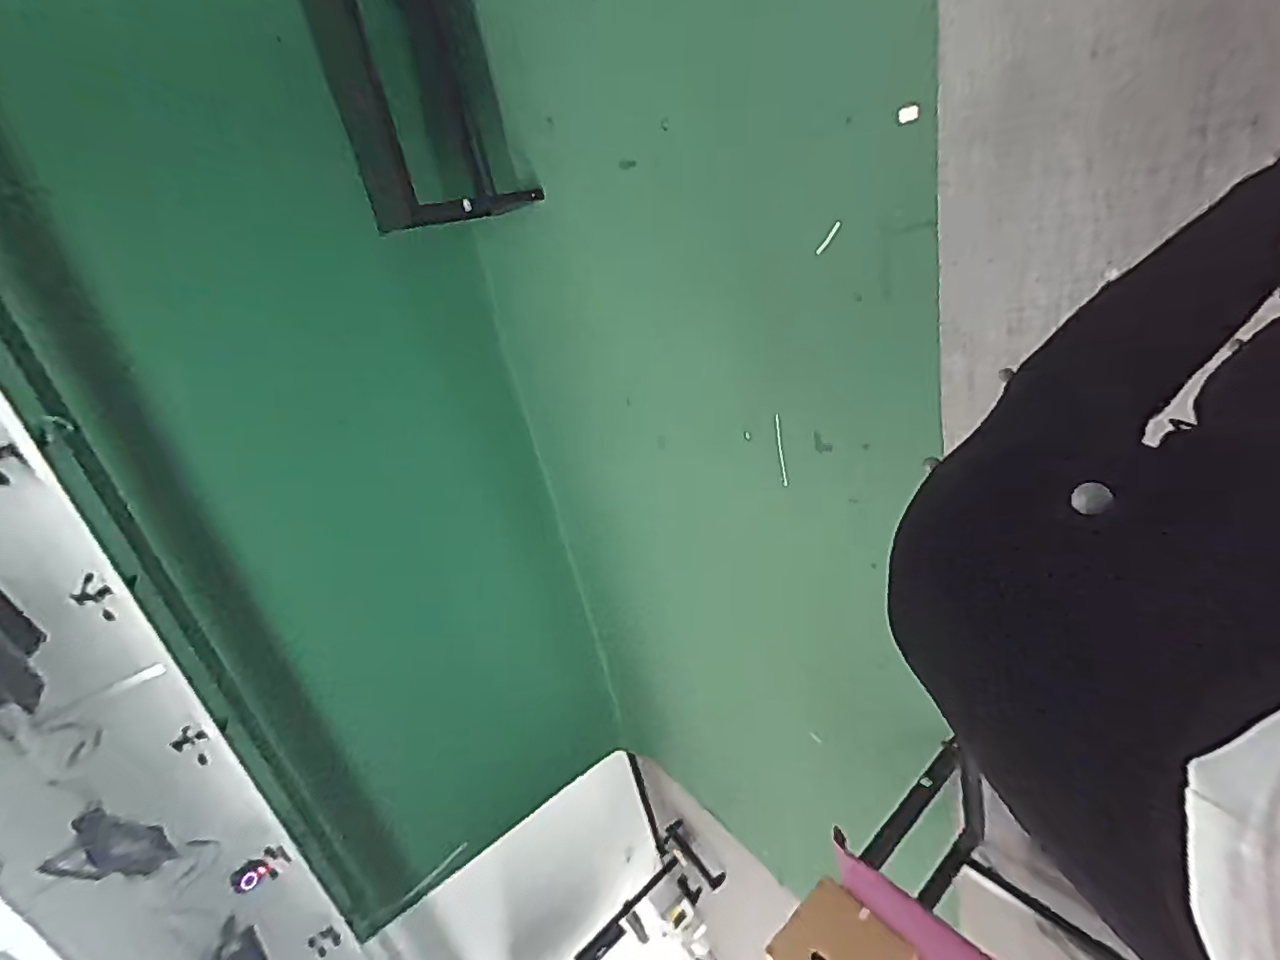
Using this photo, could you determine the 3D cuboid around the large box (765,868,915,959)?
[{"bbox_3d":[0.625,1.536,1.659,0.320,0.320,0.408,15,124,51],"label":"large box"}]
